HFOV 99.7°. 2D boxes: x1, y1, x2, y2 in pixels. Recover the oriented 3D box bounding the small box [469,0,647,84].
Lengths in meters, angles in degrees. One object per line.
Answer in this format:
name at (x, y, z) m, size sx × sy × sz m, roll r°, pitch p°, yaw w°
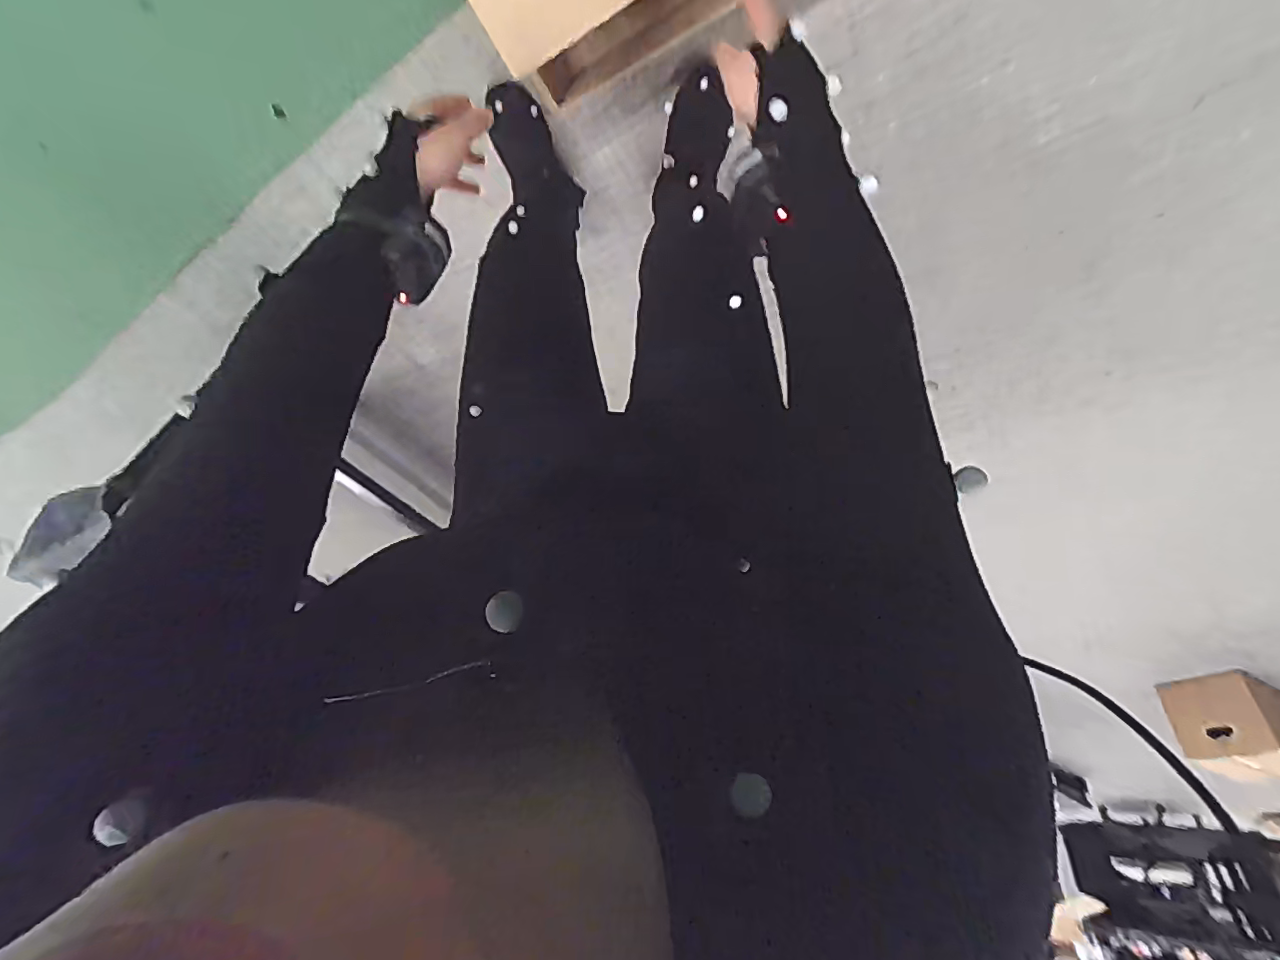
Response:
small box at (-0.091, -0.577, 0.572) m, size 0.179 × 0.176 × 0.168 m, roll -13°, pitch 137°, yaw 26°
